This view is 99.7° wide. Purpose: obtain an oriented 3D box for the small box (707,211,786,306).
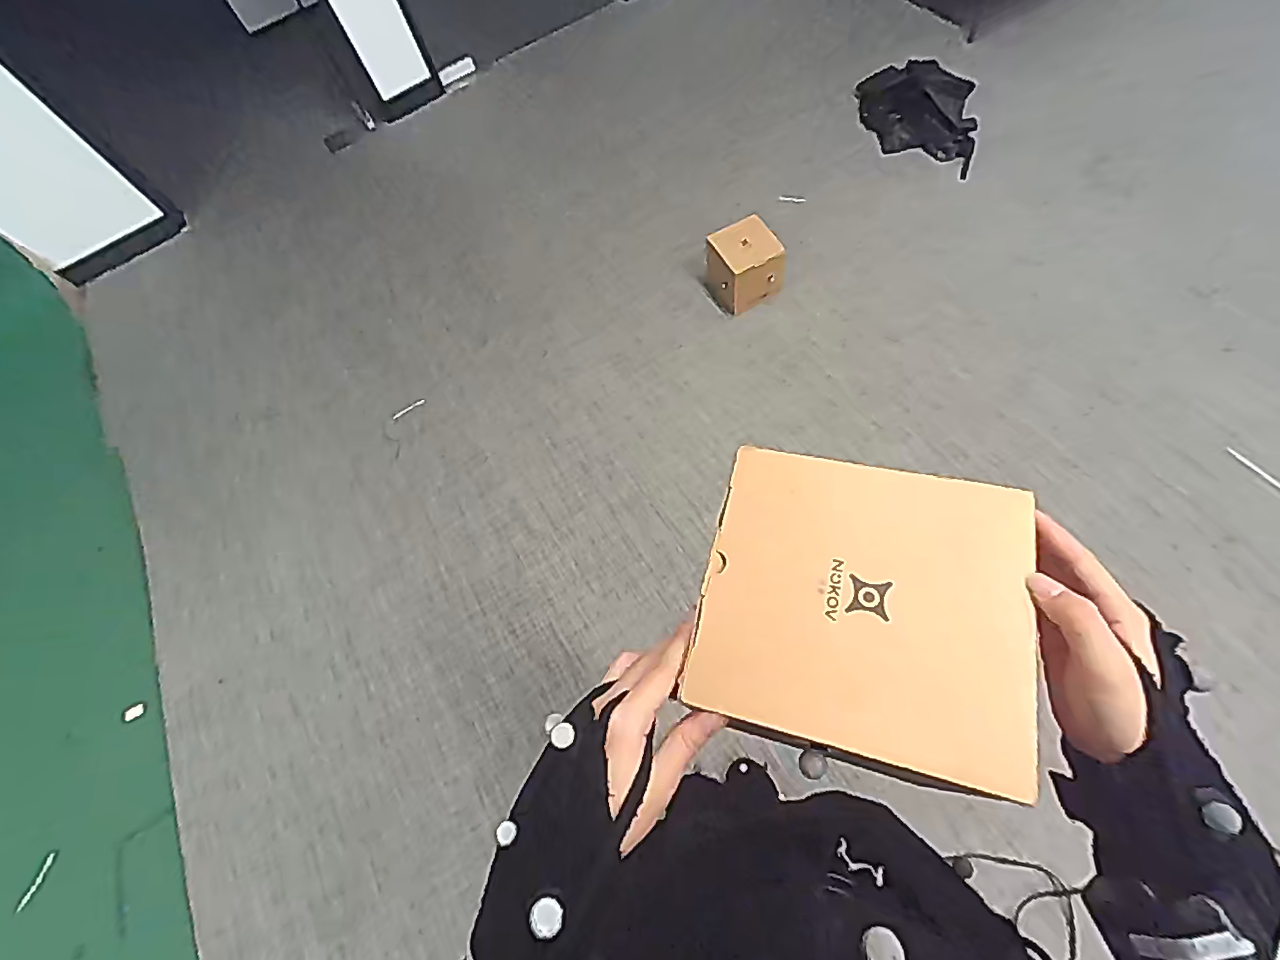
[{"bbox_3d":[0.310,-0.641,1.592,0.168,0.176,0.179,-26,64,-4],"label":"small box"}]
